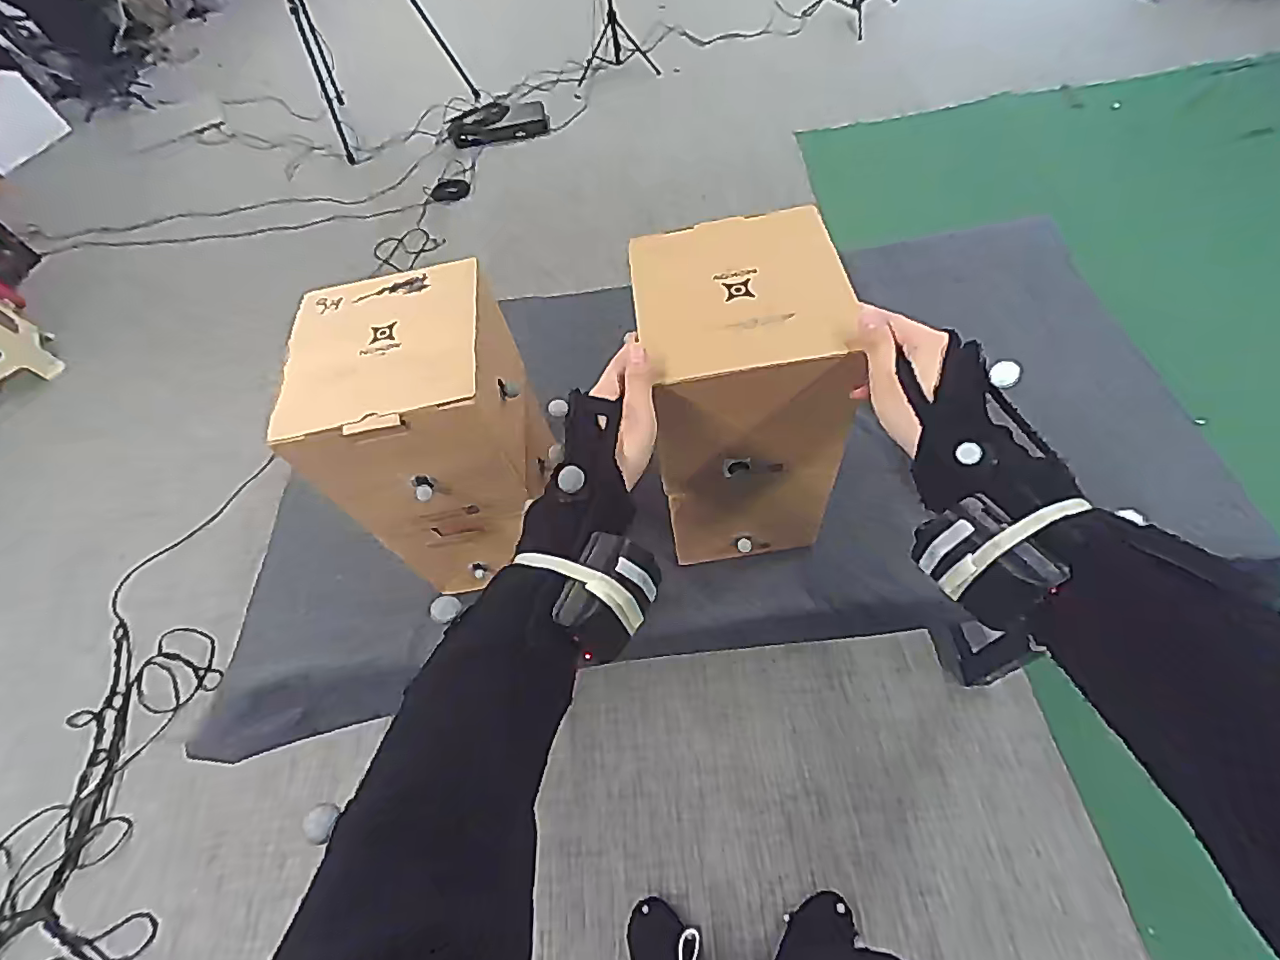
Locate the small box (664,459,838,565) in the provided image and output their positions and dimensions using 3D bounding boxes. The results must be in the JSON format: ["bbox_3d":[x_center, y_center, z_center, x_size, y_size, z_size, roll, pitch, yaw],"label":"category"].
[{"bbox_3d":[0.112,-0.022,0.632,0.168,0.176,0.179,-9,57,3],"label":"small box"}]

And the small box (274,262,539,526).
[{"bbox_3d":[-0.200,-0.070,0.518,0.168,0.176,0.179,-11,58,2],"label":"small box"}]

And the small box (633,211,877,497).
[{"bbox_3d":[0.091,-0.107,0.495,0.168,0.176,0.179,-9,58,5],"label":"small box"}]

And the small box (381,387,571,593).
[{"bbox_3d":[-0.184,0.016,0.657,0.168,0.176,0.179,-10,57,2],"label":"small box"}]
